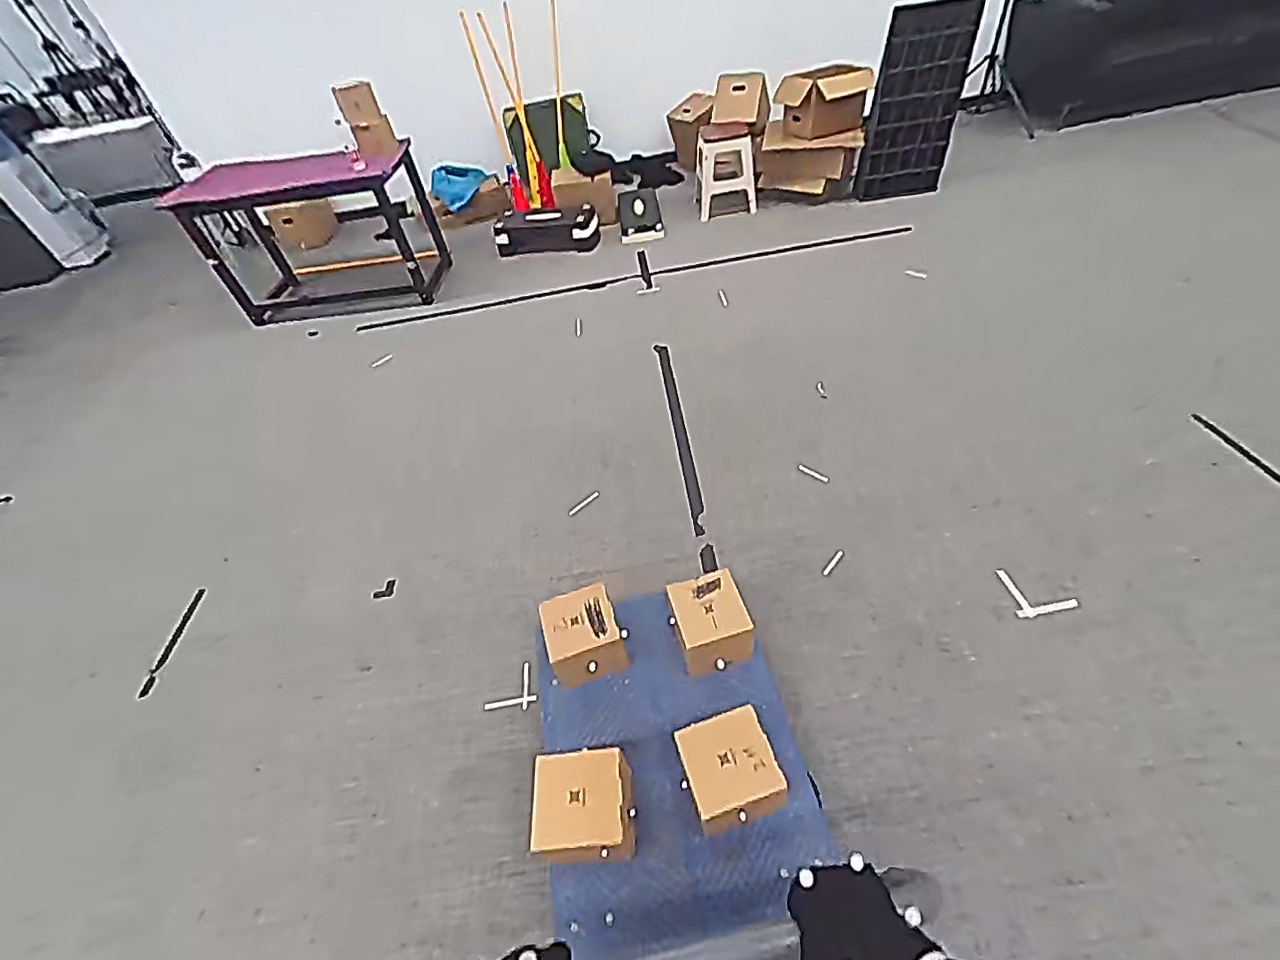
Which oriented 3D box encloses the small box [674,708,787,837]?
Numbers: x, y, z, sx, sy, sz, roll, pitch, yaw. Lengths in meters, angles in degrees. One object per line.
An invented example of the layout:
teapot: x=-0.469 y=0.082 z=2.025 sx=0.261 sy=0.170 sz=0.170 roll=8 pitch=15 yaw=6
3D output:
small box: x=0.185 y=0.605 z=1.112 sx=0.179 sy=0.176 sz=0.168 roll=-18 pitch=47 yaw=-6

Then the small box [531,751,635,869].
small box: x=-0.112 y=0.675 z=1.103 sx=0.179 sy=0.176 sz=0.168 roll=-8 pitch=46 yaw=1

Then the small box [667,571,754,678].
small box: x=0.172 y=0.359 z=1.344 sx=0.168 sy=0.176 sz=0.179 roll=-16 pitch=48 yaw=-4
